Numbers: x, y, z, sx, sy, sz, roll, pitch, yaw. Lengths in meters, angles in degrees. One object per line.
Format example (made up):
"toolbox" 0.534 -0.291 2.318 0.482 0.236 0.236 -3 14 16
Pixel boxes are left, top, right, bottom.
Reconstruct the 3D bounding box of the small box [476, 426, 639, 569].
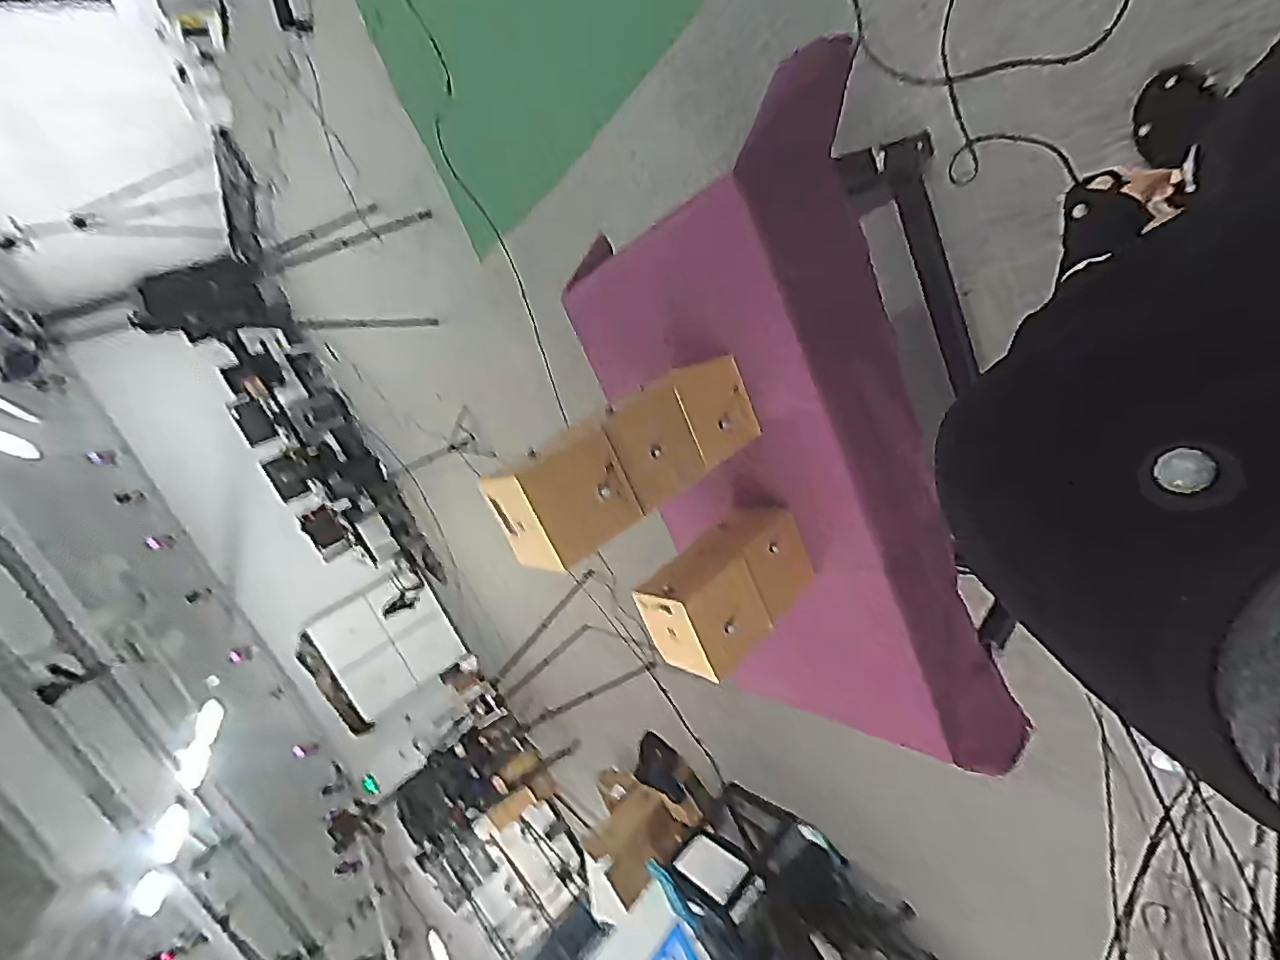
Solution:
"small box" -0.133 0.024 0.884 0.179 0.176 0.168 -5 114 54

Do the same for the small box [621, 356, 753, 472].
"small box" 0.099 -0.128 1.060 0.179 0.176 0.168 -2 115 55

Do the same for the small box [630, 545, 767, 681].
"small box" 0.117 0.249 1.049 0.168 0.176 0.179 -5 114 55

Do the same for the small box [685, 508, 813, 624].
"small box" 0.232 0.170 1.137 0.168 0.176 0.179 -5 113 55
